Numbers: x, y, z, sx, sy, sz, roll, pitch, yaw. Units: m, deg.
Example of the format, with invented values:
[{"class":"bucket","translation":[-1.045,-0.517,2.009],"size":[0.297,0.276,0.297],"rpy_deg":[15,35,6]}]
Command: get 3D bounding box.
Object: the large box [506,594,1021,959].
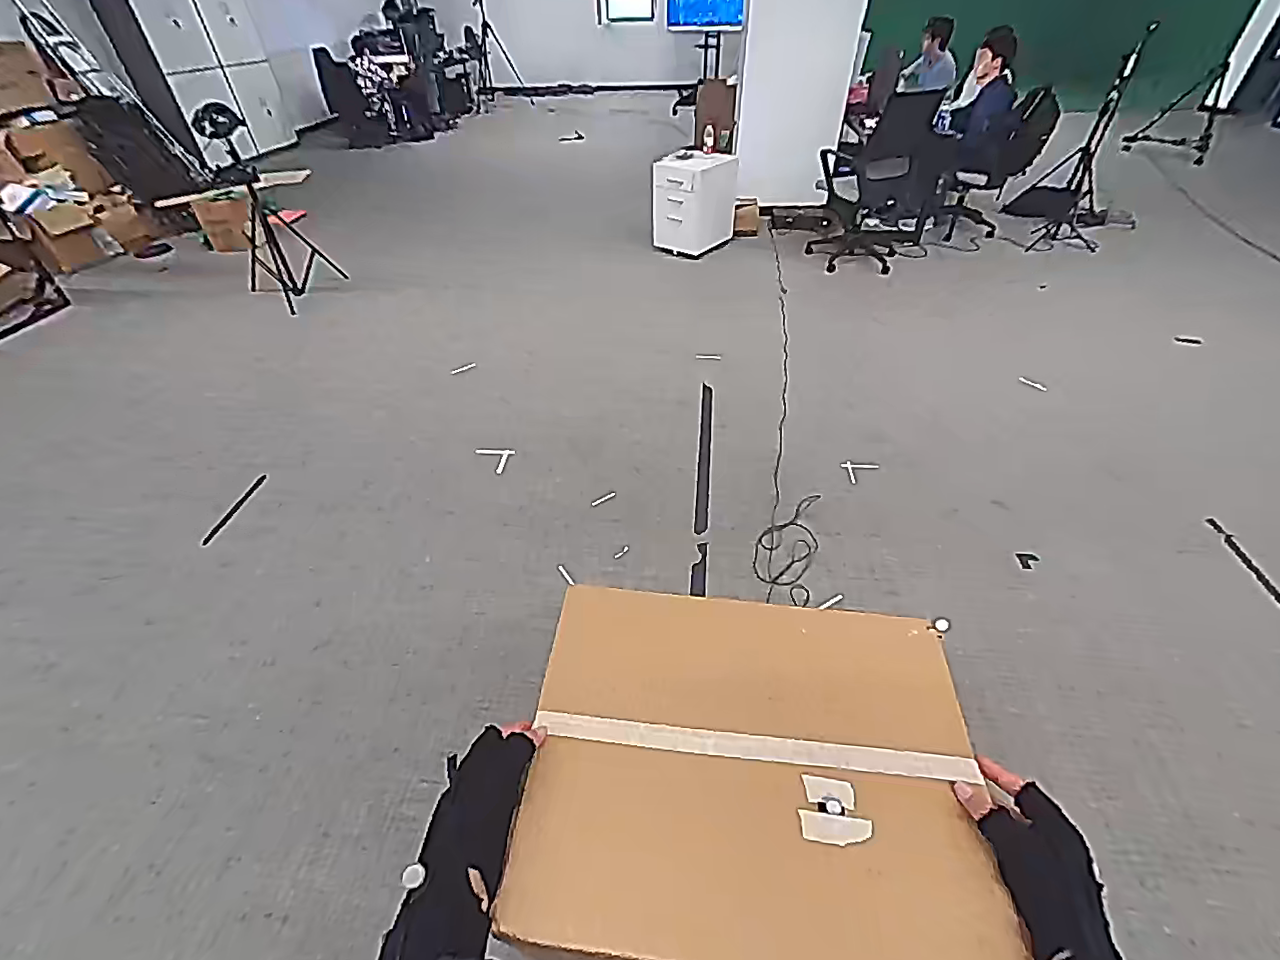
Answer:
[{"class":"large box","translation":[0.102,0.359,0.620],"size":[0.408,0.320,0.320],"rpy_deg":[5,46,5]}]
